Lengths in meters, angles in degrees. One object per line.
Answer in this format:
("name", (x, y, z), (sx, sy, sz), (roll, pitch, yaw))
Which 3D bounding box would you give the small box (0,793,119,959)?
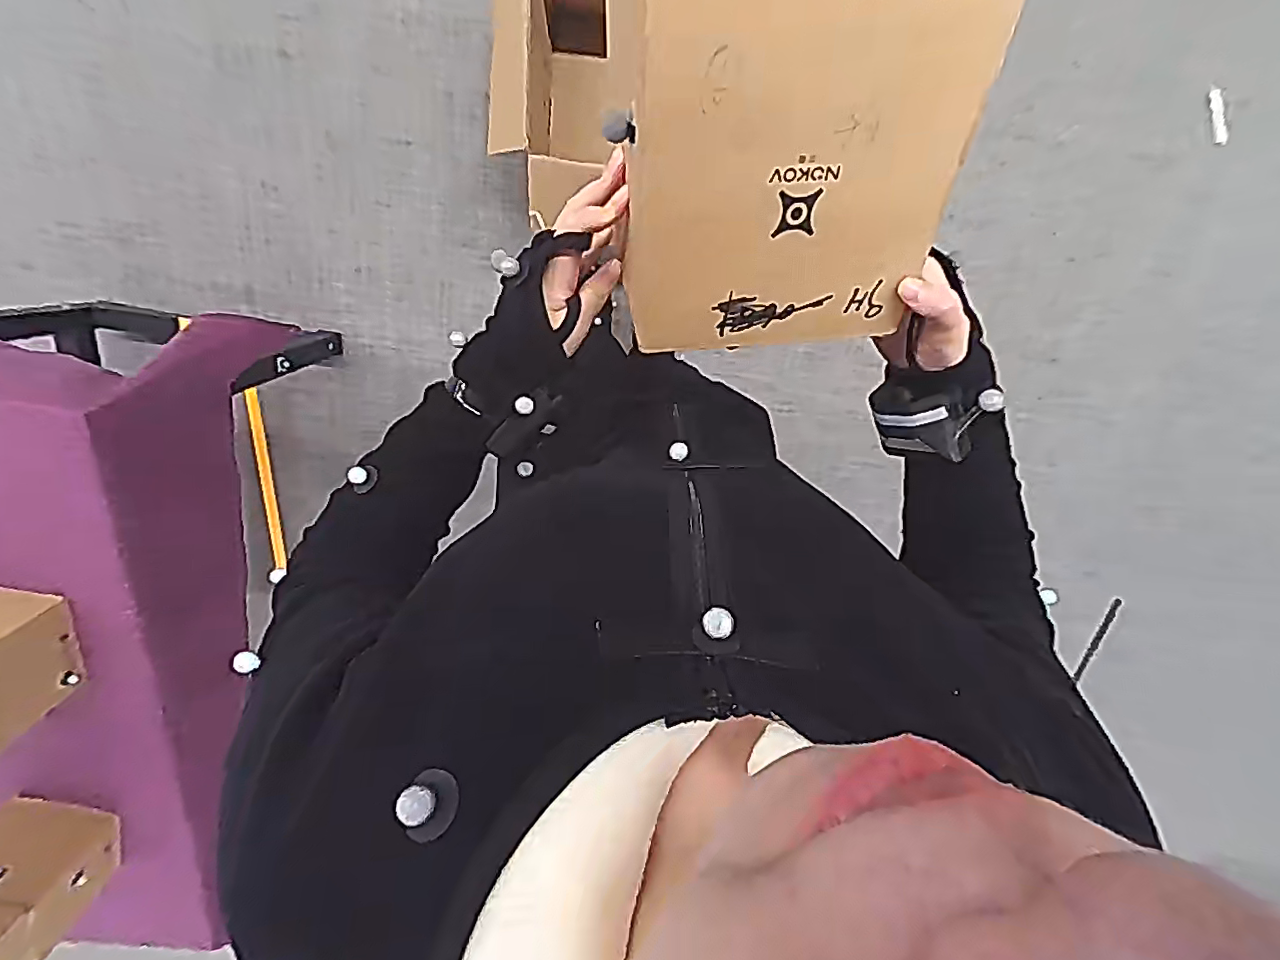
("small box", (-1.049, 0.674, 0.925), (0.179, 0.176, 0.168), (18, 111, -9))

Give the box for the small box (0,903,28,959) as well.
("small box", (-1.044, 0.733, 0.772), (0.168, 0.176, 0.179), (18, 111, -10))

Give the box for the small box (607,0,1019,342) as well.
("small box", (0.070, -0.208, 0.330), (0.168, 0.176, 0.179), (-5, 136, -6))

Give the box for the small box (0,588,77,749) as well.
("small box", (-0.943, 0.258, 0.746), (0.179, 0.176, 0.168), (10, 113, -5))
